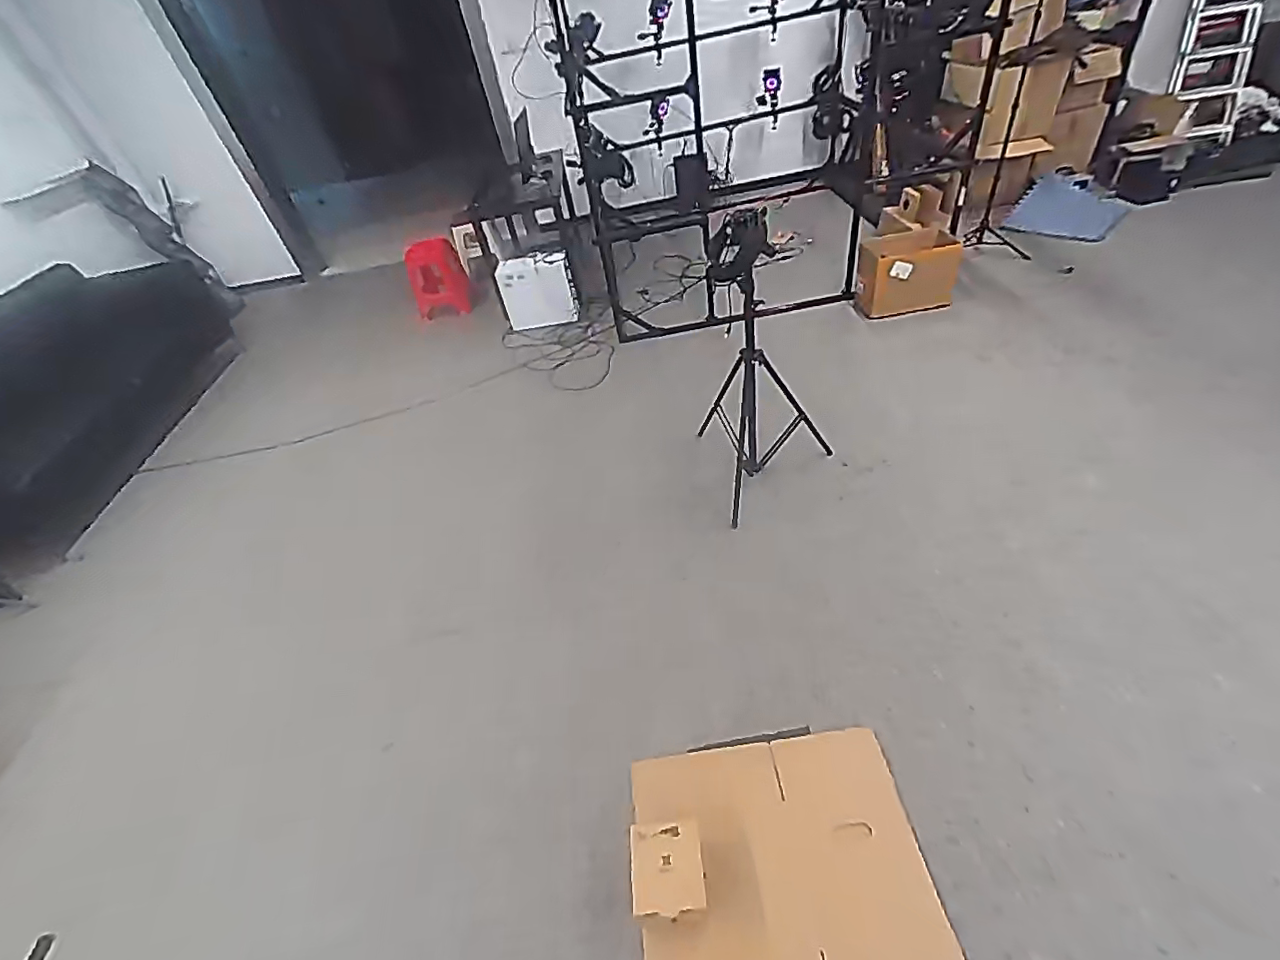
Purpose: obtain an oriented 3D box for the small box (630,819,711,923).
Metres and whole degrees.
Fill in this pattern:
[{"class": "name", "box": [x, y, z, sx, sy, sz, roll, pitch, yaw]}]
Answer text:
[{"class": "small box", "box": [0.073, 0.927, 1.276, 0.168, 0.176, 0.179, -9, 44, 5]}]
